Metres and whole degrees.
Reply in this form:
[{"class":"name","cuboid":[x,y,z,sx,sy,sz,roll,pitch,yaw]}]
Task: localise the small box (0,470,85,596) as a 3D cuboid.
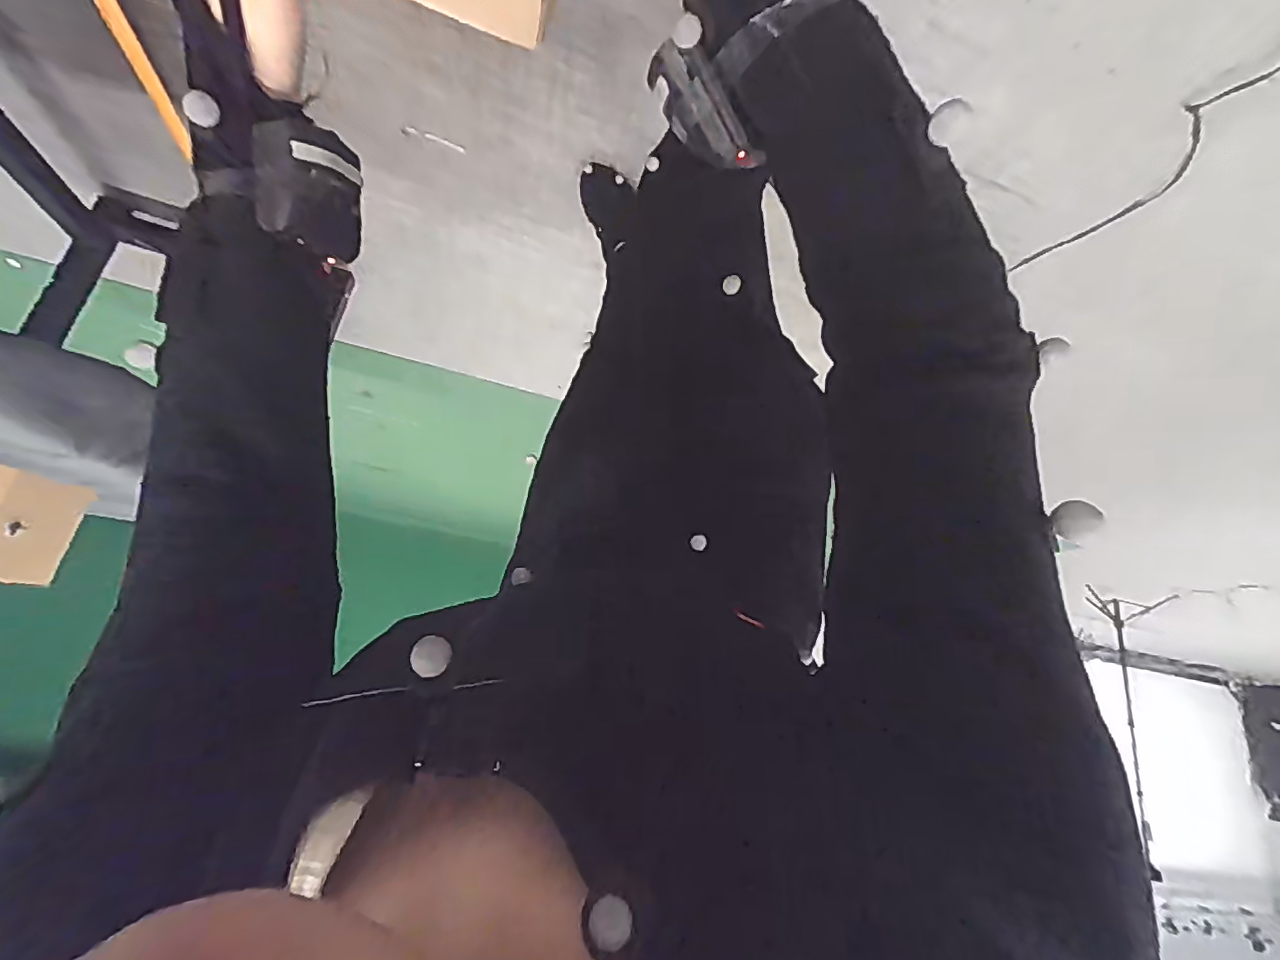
[{"class":"small box","cuboid":[-0.973,0.063,0.772,0.168,0.176,0.179,15,161,-14]}]
